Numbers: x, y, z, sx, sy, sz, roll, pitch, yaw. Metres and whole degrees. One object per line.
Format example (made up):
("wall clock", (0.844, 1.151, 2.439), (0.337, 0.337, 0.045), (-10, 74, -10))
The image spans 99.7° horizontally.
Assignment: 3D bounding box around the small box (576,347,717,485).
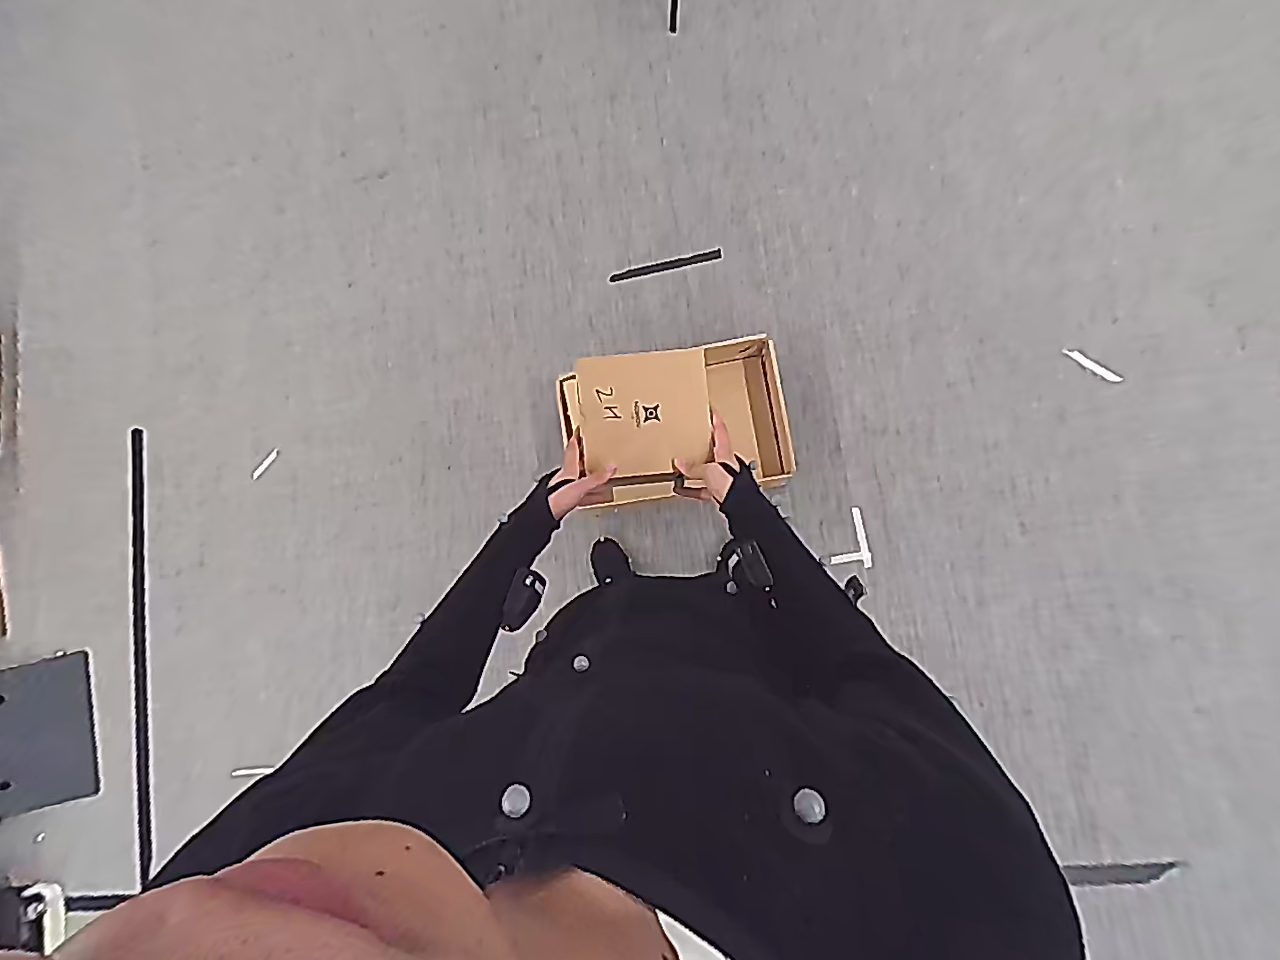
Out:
("small box", (0.005, -0.084, 0.785), (0.179, 0.176, 0.168), (-5, 86, -1))
